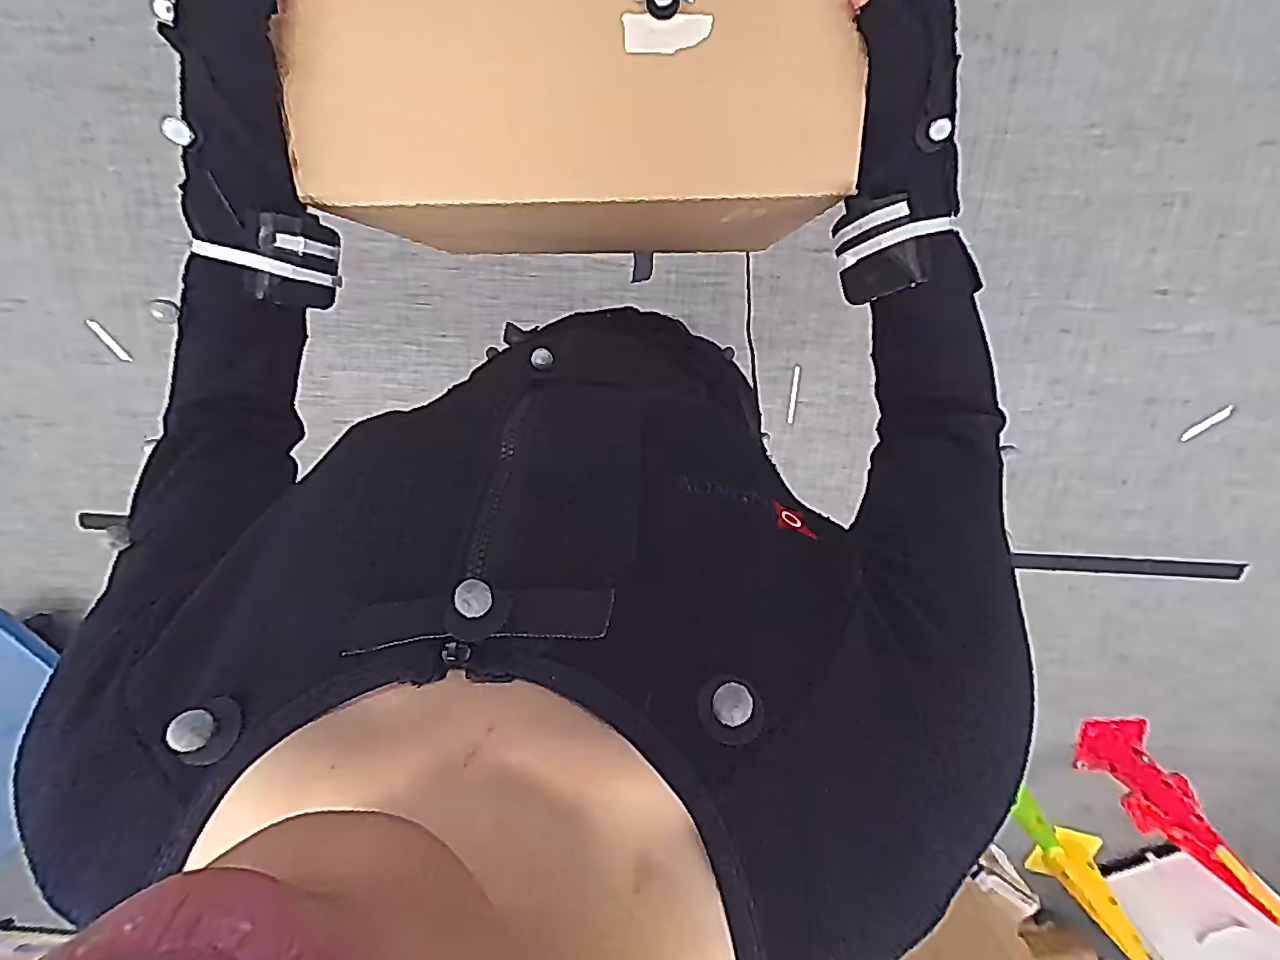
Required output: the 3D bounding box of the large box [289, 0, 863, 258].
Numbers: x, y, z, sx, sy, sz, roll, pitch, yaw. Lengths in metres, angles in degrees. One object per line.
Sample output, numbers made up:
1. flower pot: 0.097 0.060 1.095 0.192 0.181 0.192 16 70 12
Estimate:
1. large box: -0.045 -0.399 0.508 0.408 0.320 0.320 -1 106 1
